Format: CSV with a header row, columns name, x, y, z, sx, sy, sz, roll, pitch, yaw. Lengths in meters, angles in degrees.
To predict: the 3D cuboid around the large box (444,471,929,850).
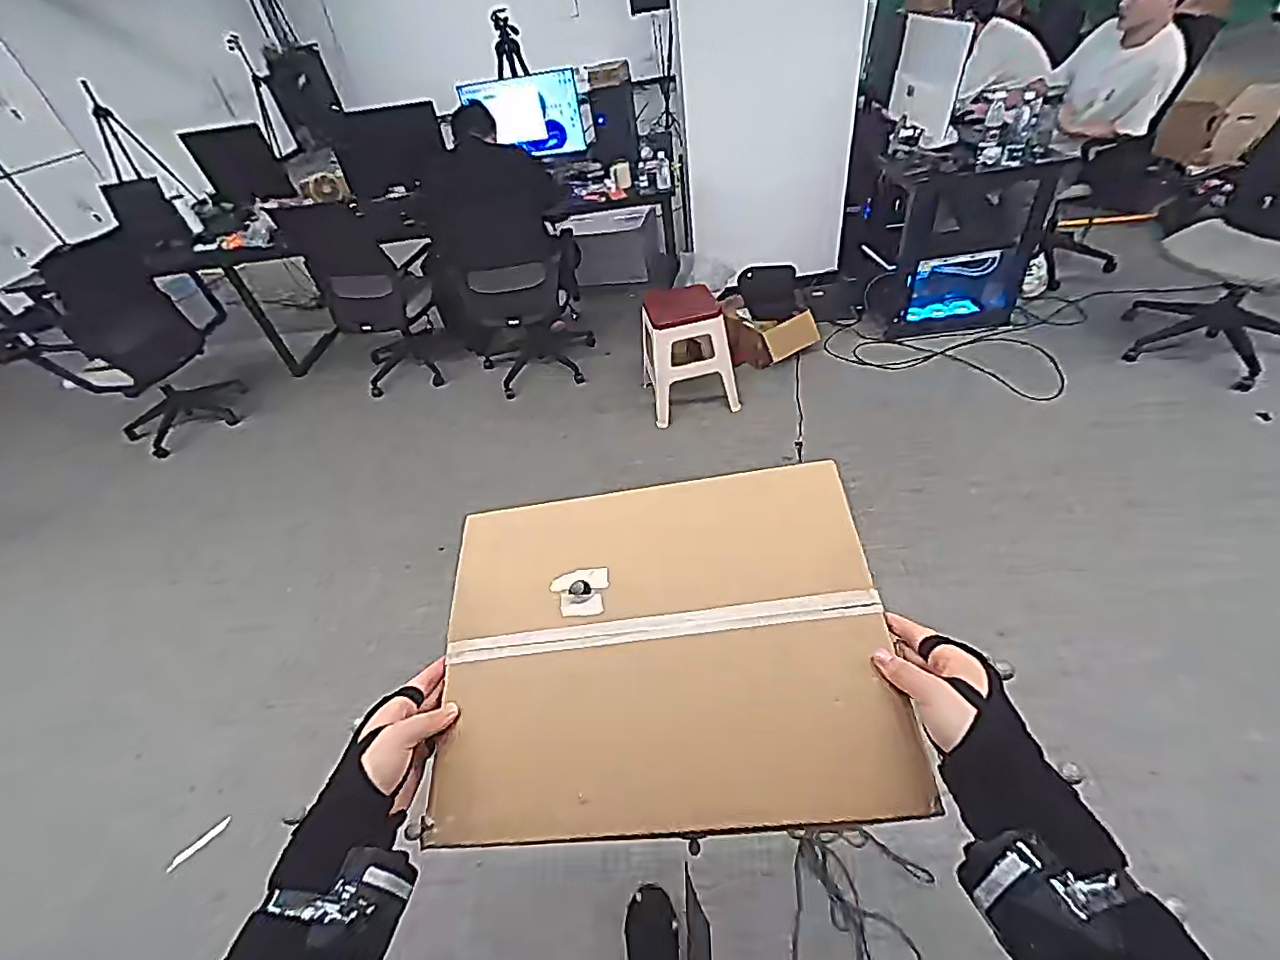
name,x,y,z,sx,sy,sz,roll,pitch,yaw
large box,0.048,0.230,0.635,0.408,0.320,0.320,-10,54,8
